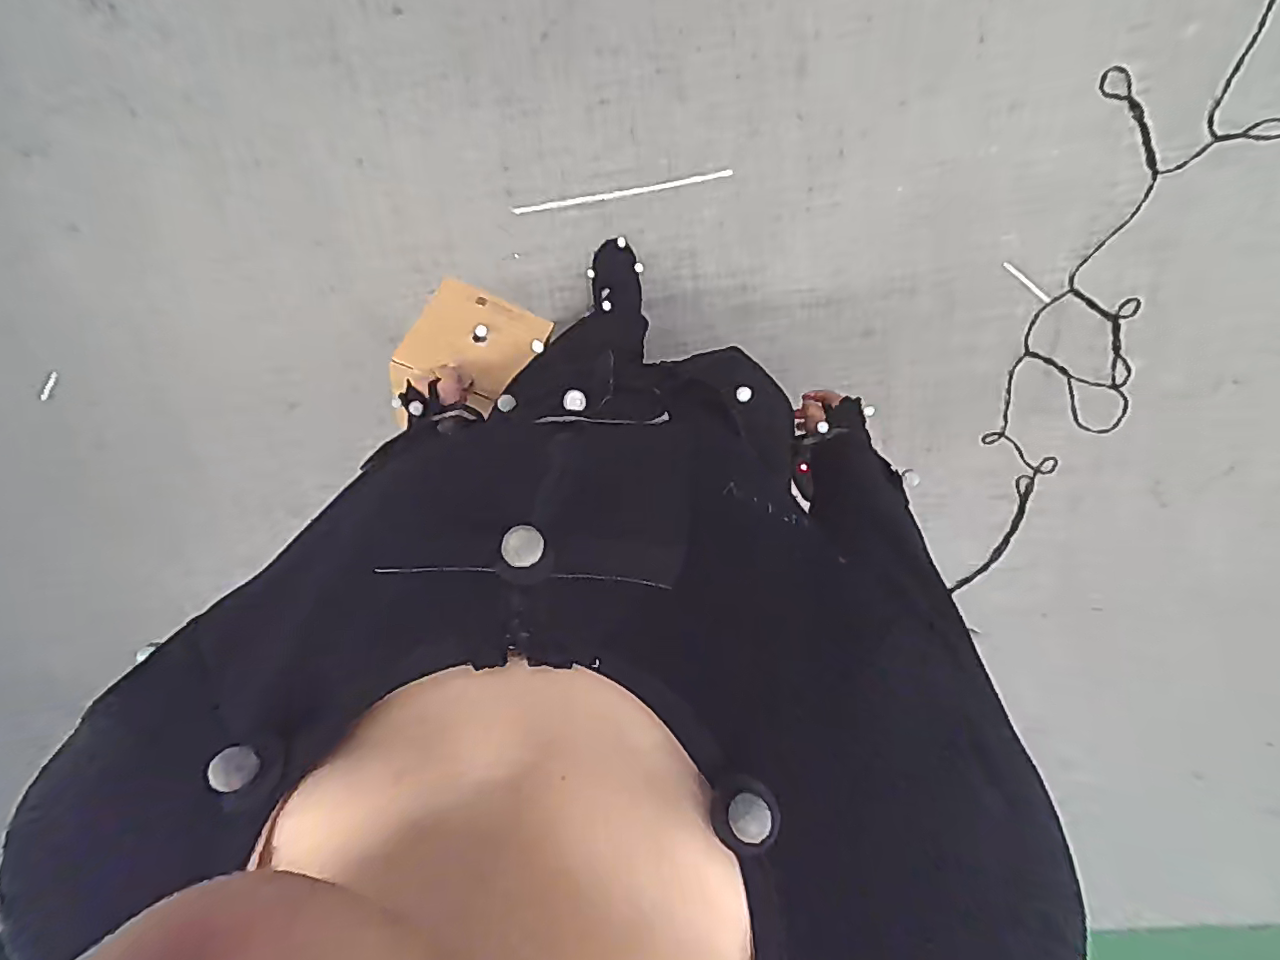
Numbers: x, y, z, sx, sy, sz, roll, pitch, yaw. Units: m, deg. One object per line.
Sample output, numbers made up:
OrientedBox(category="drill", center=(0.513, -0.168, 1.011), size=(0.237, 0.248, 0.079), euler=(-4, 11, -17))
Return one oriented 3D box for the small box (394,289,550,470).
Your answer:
OrientedBox(category="small box", center=(-0.248, -0.150, 0.813), size=(0.168, 0.176, 0.179), euler=(23, 148, -9))
